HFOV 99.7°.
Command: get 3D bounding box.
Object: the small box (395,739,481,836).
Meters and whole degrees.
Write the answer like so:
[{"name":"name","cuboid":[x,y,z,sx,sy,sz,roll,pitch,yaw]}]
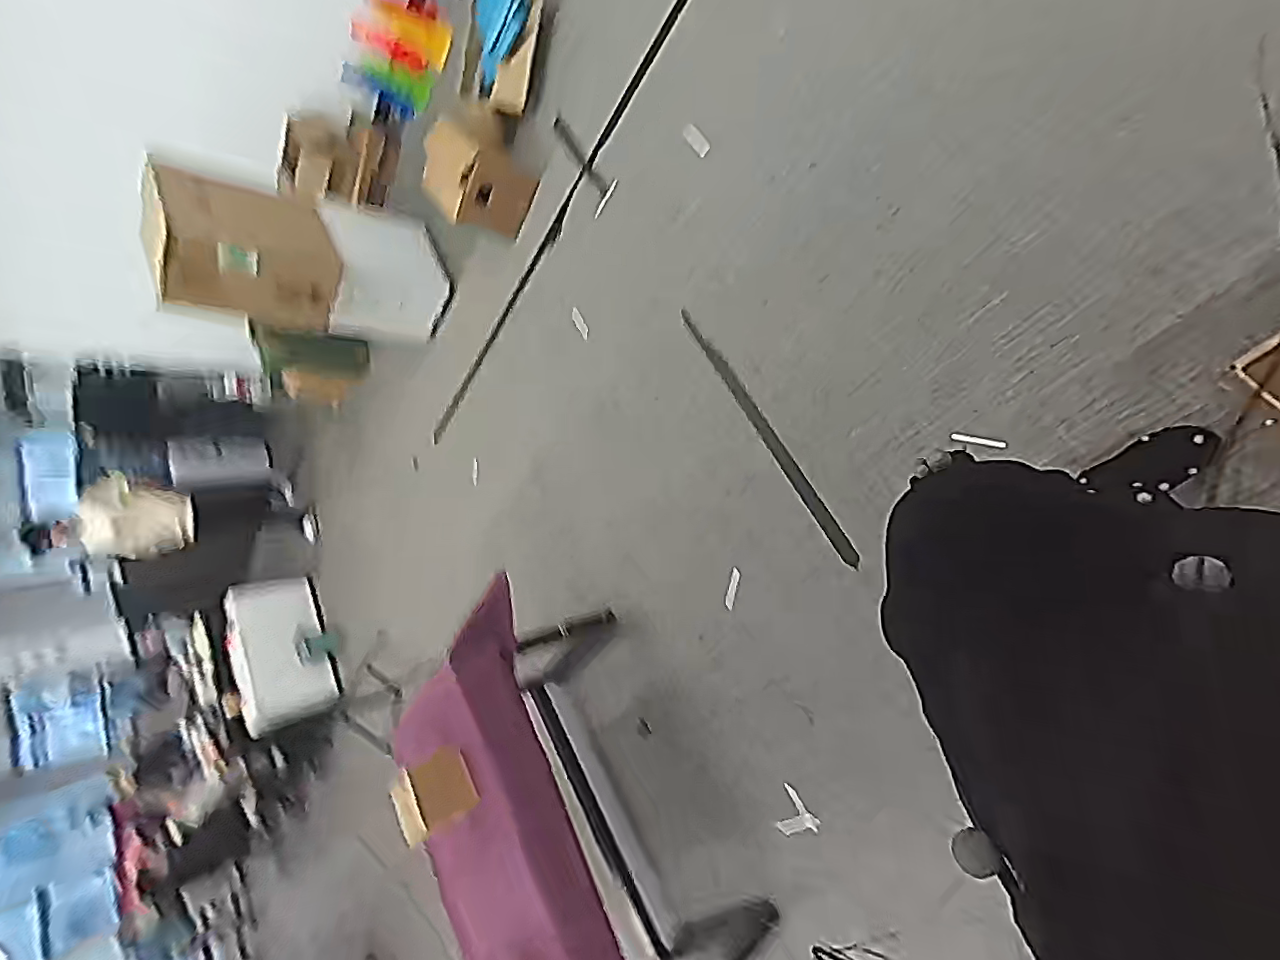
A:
[{"name":"small box","cuboid":[-0.604,0.918,1.624,0.168,0.176,0.179,-50,61,33]}]
